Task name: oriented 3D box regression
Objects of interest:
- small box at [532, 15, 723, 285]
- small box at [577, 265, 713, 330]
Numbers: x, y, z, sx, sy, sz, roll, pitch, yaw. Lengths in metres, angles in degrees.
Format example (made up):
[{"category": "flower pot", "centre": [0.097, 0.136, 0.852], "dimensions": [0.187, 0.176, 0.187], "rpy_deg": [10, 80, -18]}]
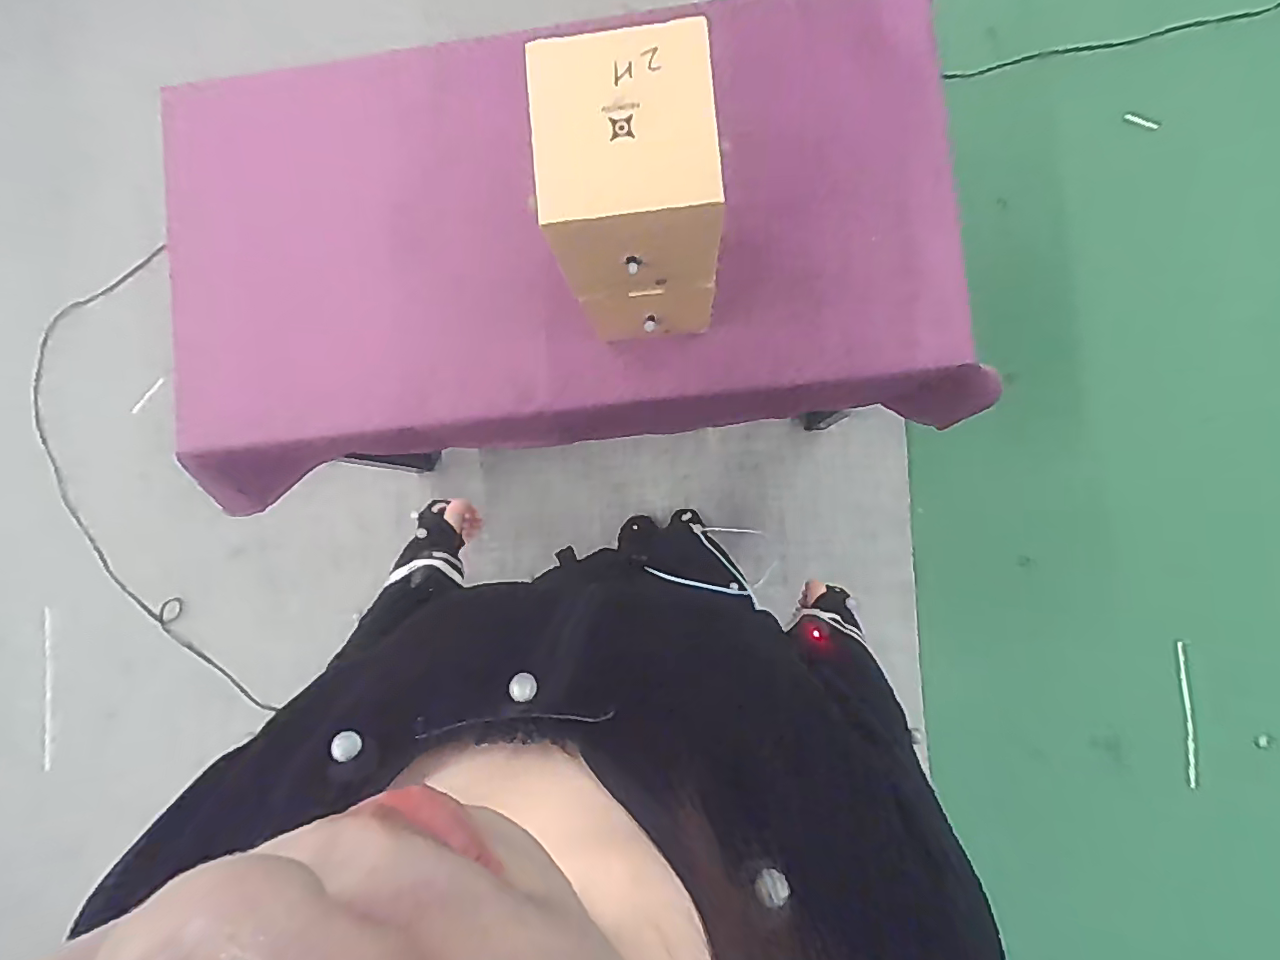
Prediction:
[{"category": "small box", "centre": [-0.006, -0.316, 0.557], "dimensions": [0.168, 0.176, 0.179], "rpy_deg": [-4, 87, 3]}, {"category": "small box", "centre": [0.008, -0.308, 0.722], "dimensions": [0.168, 0.176, 0.179], "rpy_deg": [-4, 88, 3]}]
